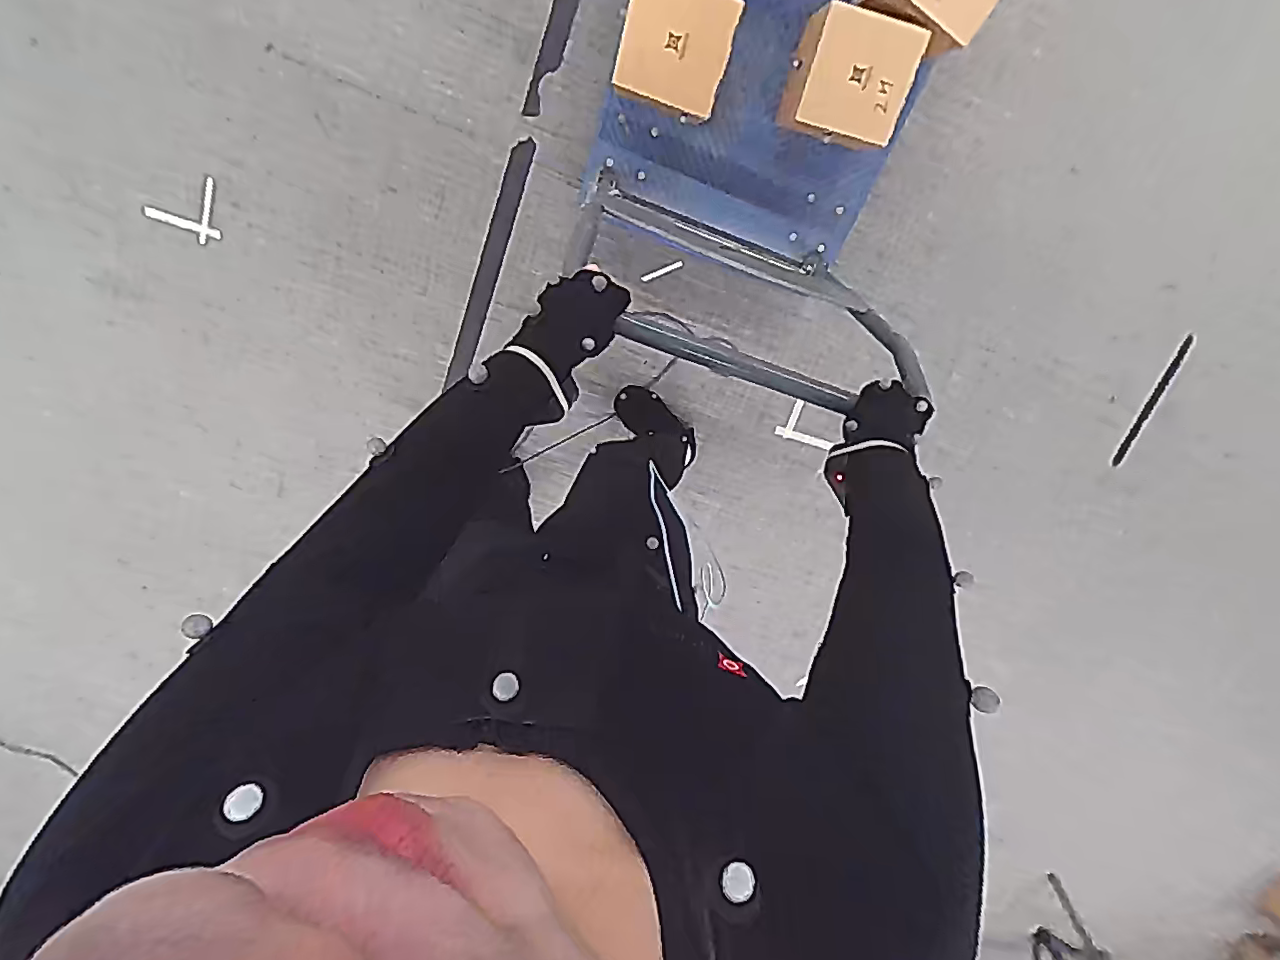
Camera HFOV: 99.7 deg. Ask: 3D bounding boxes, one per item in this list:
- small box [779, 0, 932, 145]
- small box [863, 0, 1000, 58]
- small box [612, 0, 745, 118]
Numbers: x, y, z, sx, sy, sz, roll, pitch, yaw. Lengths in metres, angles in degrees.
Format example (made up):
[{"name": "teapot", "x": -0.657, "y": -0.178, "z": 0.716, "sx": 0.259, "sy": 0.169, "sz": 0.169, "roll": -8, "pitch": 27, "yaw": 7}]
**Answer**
[{"name": "small box", "x": 0.367, "y": -0.711, "z": 0.964, "sx": 0.179, "sy": 0.176, "sz": 0.168, "roll": 12, "pitch": 121, "yaw": -7}, {"name": "small box", "x": 0.501, "y": -0.841, "z": 0.885, "sx": 0.168, "sy": 0.176, "sz": 0.179, "roll": 26, "pitch": 118, "yaw": -15}, {"name": "small box", "x": 0.057, "y": -0.750, "z": 0.939, "sx": 0.179, "sy": 0.176, "sz": 0.168, "roll": 14, "pitch": 120, "yaw": -10}]
